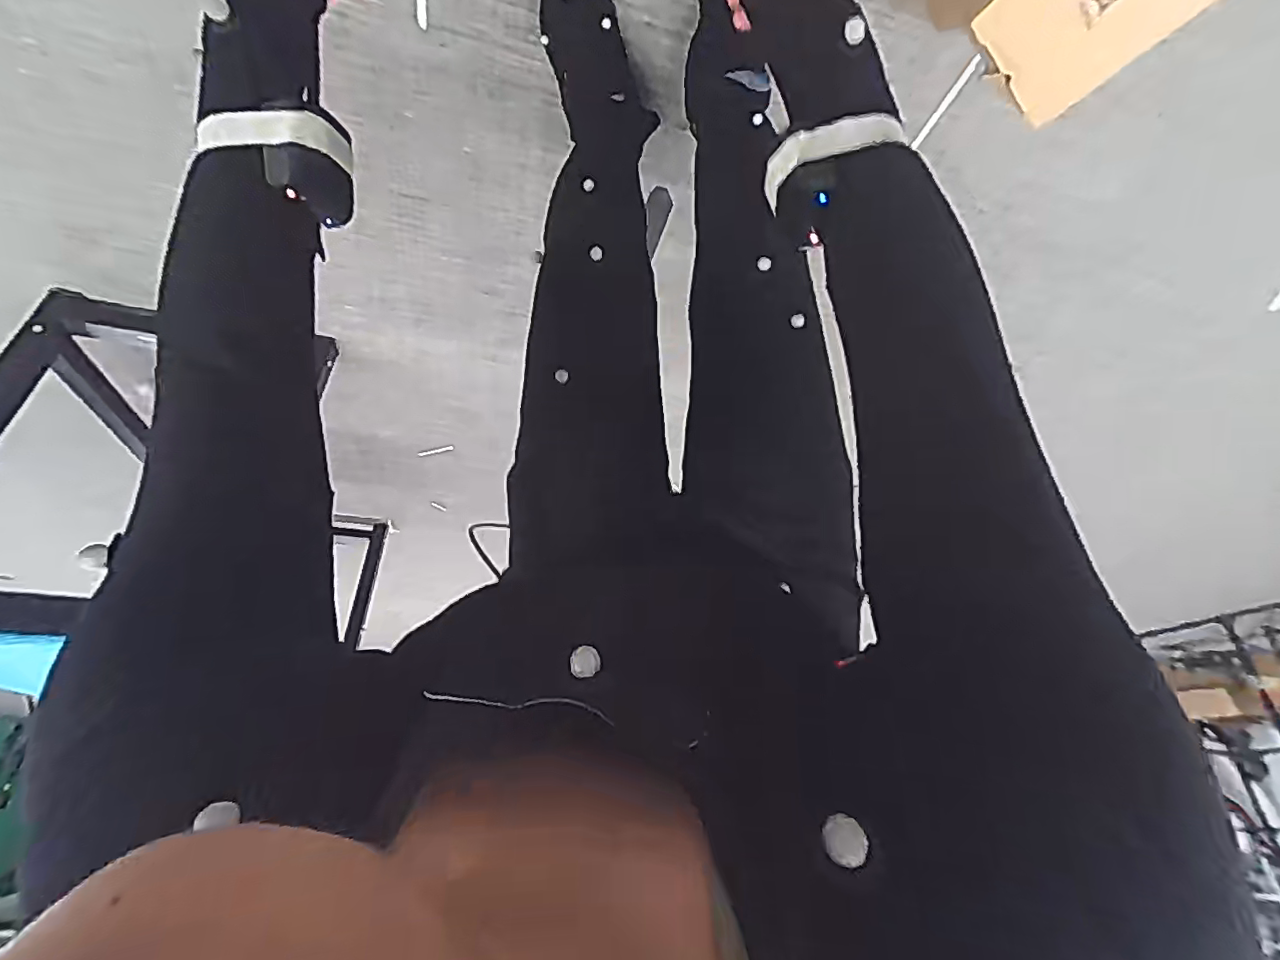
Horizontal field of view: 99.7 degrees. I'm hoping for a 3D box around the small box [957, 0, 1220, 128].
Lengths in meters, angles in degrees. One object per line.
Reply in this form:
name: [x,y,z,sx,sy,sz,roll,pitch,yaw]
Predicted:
small box: [0.422,-0.509,0.526,0.168,0.176,0.179,20,145,-35]
